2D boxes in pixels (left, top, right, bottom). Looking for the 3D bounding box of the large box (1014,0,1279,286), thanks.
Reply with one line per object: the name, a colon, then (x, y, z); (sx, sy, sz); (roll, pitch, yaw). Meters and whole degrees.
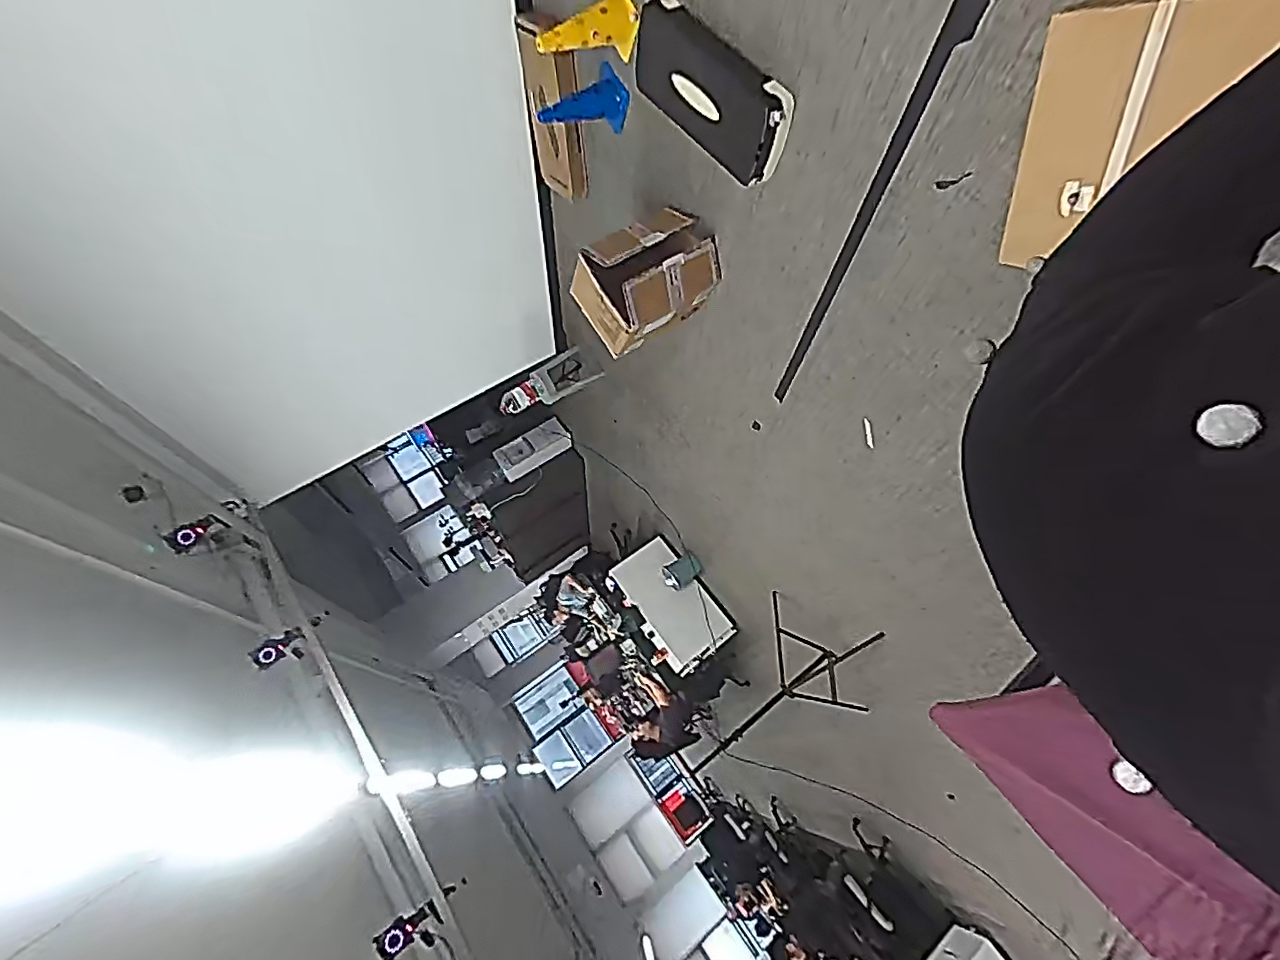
large box: (0.910, -0.606, 0.909); (0.320, 0.320, 0.408); (39, 156, 45)
